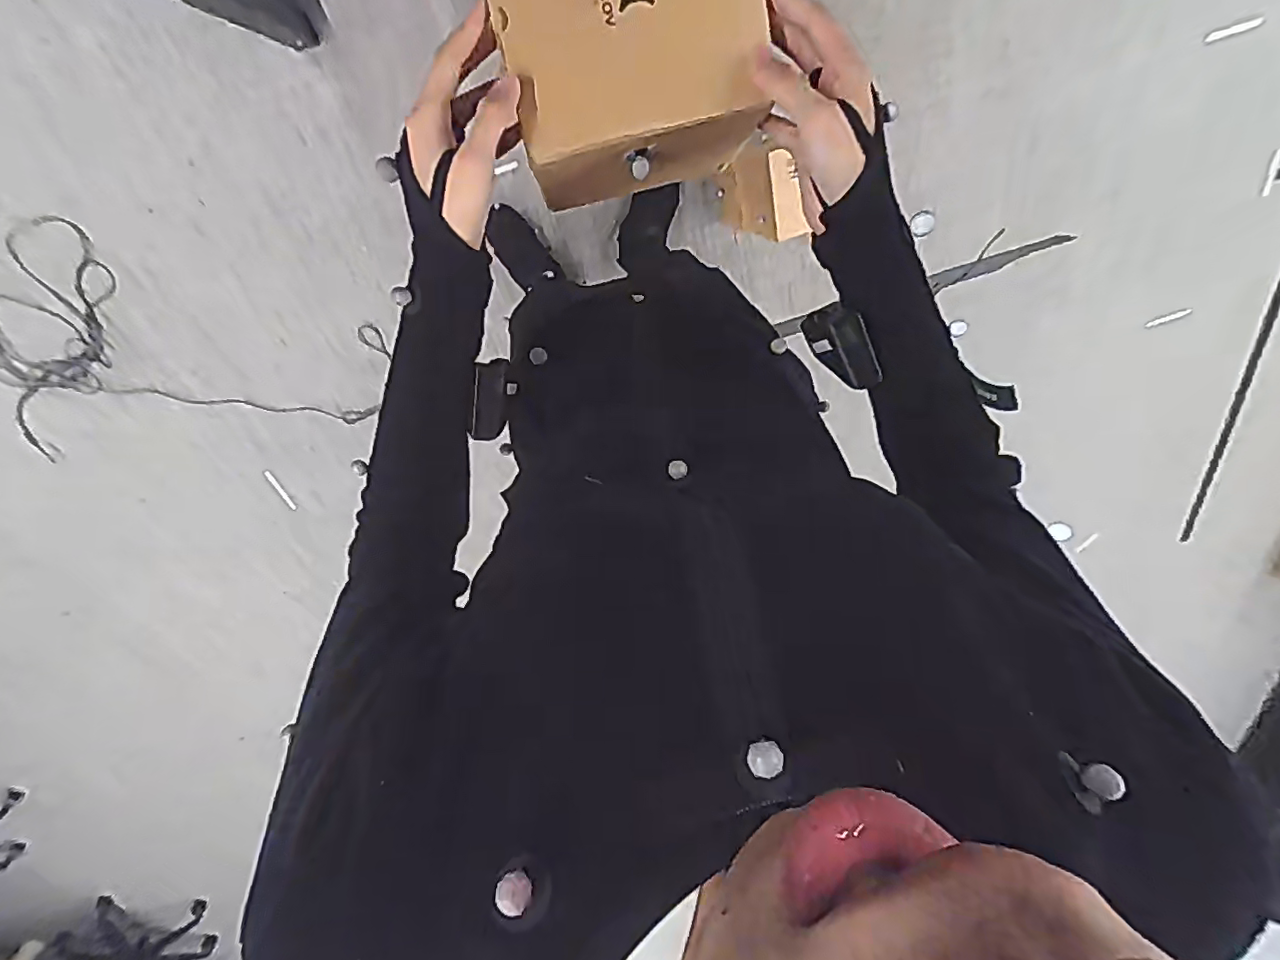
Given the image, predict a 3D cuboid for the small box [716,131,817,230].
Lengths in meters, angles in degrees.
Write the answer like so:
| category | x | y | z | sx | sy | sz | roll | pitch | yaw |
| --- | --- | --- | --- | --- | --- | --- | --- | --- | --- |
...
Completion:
| category | x | y | z | sx | sy | sz | roll | pitch | yaw |
| --- | --- | --- | --- | --- | --- | --- | --- | --- | --- |
| small box | 0.304 | -0.731 | 1.313 | 0.179 | 0.176 | 0.168 | -20 | 123 | 1 |
